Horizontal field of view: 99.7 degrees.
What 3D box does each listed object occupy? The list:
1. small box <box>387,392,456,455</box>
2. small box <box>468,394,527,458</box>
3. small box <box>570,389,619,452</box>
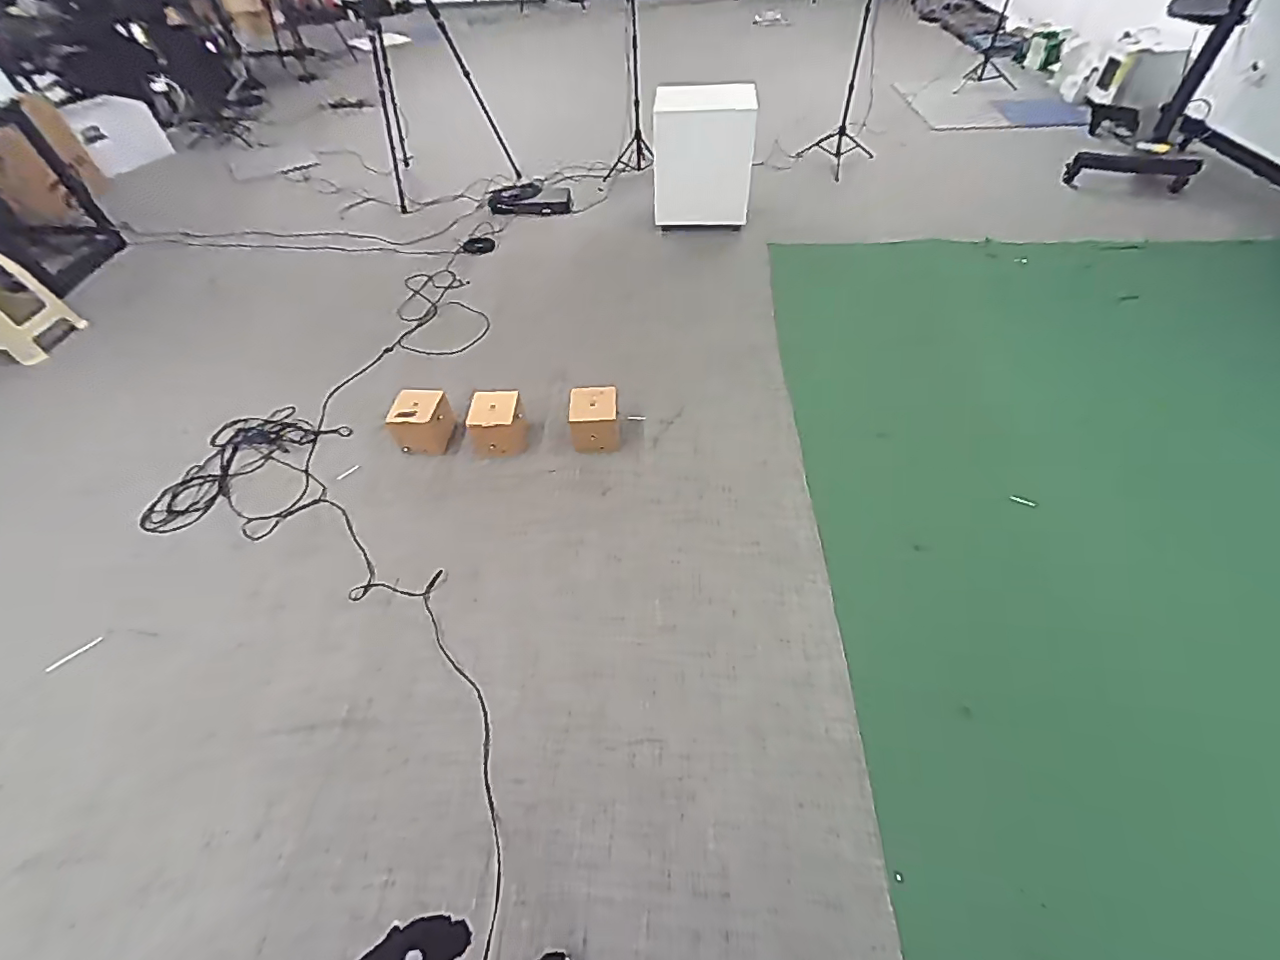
[{"bbox_3d":[-0.814,-0.211,2.041,0.168,0.176,0.179,2,49,5],"label":"small box"},{"bbox_3d":[-0.524,-0.202,2.020,0.168,0.176,0.179,-2,51,2],"label":"small box"},{"bbox_3d":[-0.165,-0.215,2.011,0.168,0.176,0.179,-2,50,0],"label":"small box"}]
